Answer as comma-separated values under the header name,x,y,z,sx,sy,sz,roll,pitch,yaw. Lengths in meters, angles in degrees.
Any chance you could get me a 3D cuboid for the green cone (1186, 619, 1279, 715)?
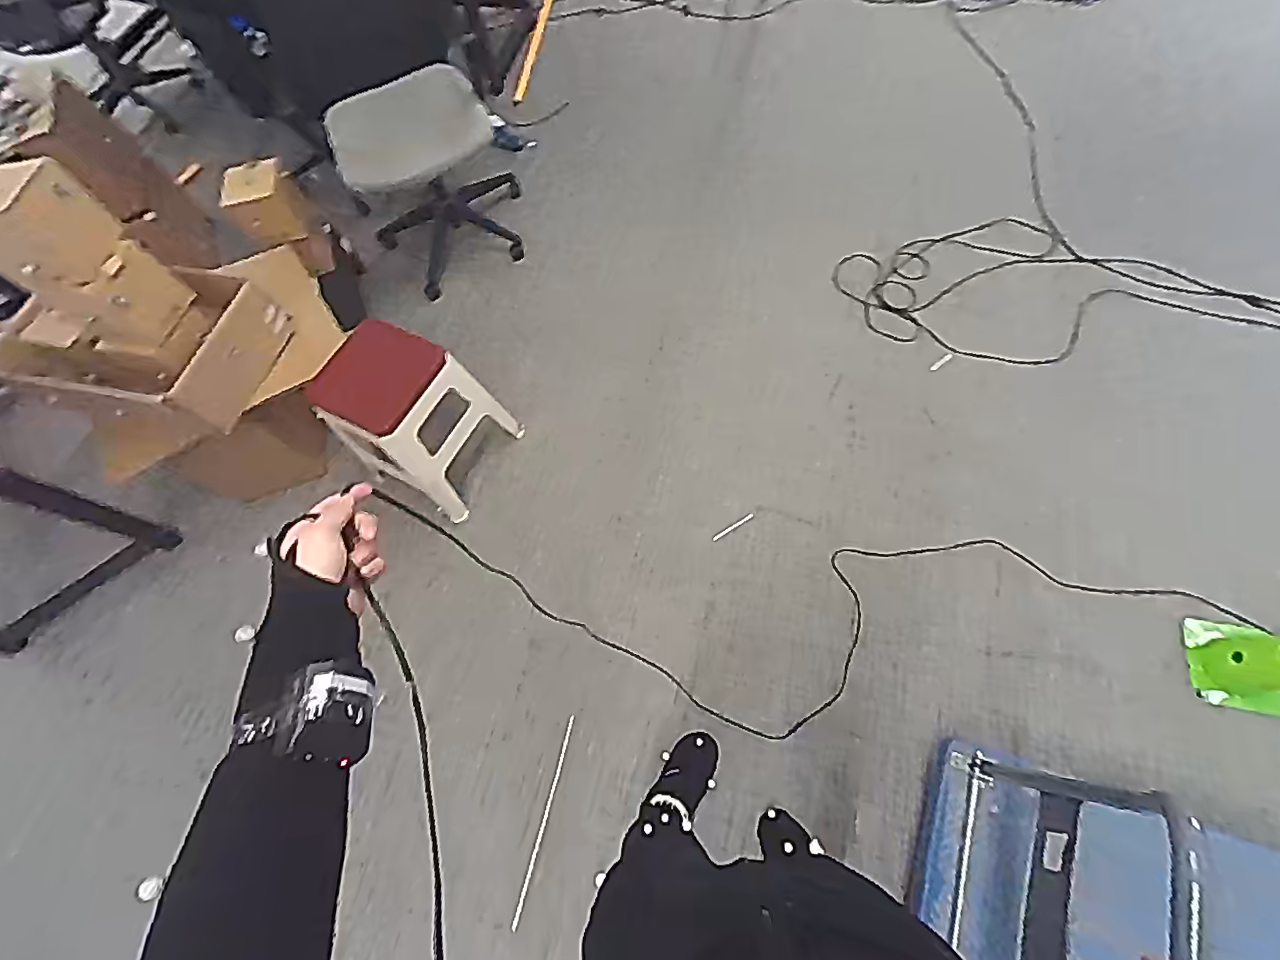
name,x,y,z,sx,sy,sz,roll,pitch,yaw
green cone,1.435,0.377,1.152,0.200,0.368,0.202,8,66,10
